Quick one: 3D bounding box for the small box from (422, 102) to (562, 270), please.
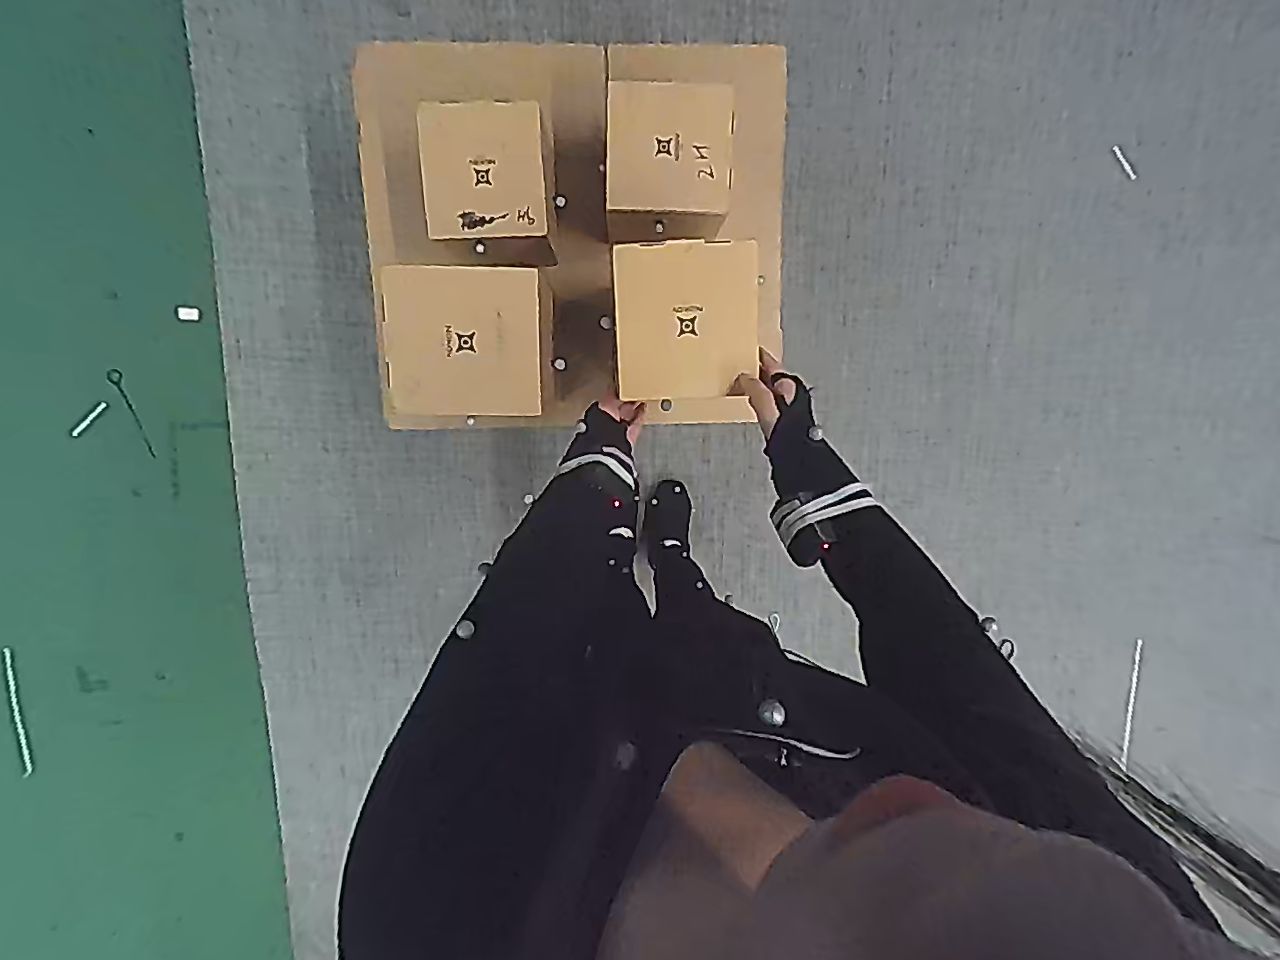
[{"bbox_3d":[-0.212,-0.429,0.814,0.168,0.176,0.179,-2,97,0],"label":"small box"}]

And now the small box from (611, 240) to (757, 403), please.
[{"bbox_3d":[0.052,-0.192,0.694,0.168,0.176,0.179,-3,98,0],"label":"small box"}]

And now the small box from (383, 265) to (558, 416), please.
[{"bbox_3d":[-0.202,-0.168,0.690,0.179,0.176,0.168,1,100,-2],"label":"small box"}]
